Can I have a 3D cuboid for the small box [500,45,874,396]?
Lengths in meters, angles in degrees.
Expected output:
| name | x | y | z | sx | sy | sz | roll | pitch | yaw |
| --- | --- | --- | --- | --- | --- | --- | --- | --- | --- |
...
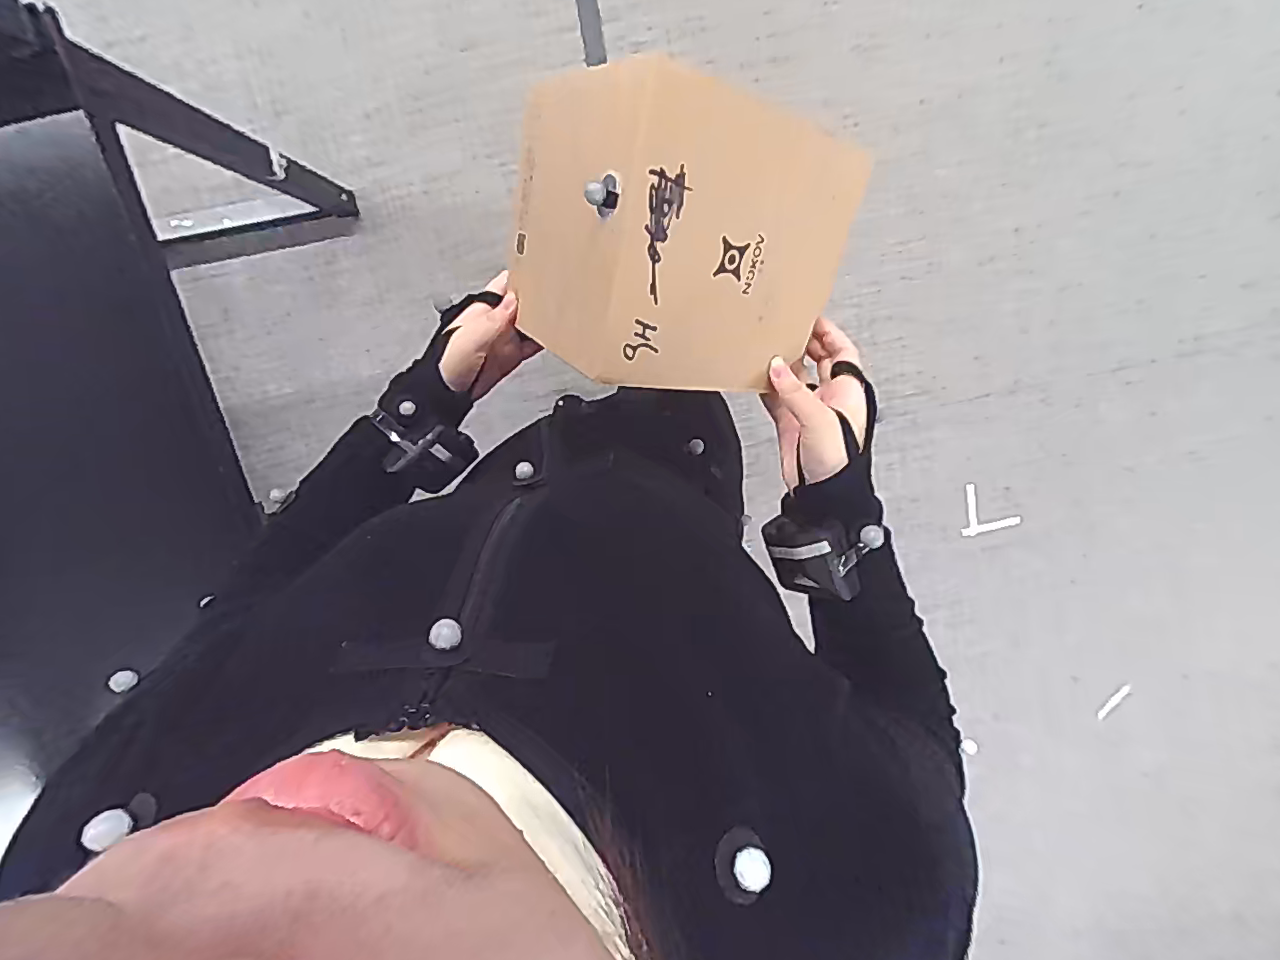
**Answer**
| name | x | y | z | sx | sy | sz | roll | pitch | yaw |
| --- | --- | --- | --- | --- | --- | --- | --- | --- | --- |
| small box | 0.020 | -0.169 | 0.387 | 0.179 | 0.176 | 0.168 | -2 | 116 | -35 |
